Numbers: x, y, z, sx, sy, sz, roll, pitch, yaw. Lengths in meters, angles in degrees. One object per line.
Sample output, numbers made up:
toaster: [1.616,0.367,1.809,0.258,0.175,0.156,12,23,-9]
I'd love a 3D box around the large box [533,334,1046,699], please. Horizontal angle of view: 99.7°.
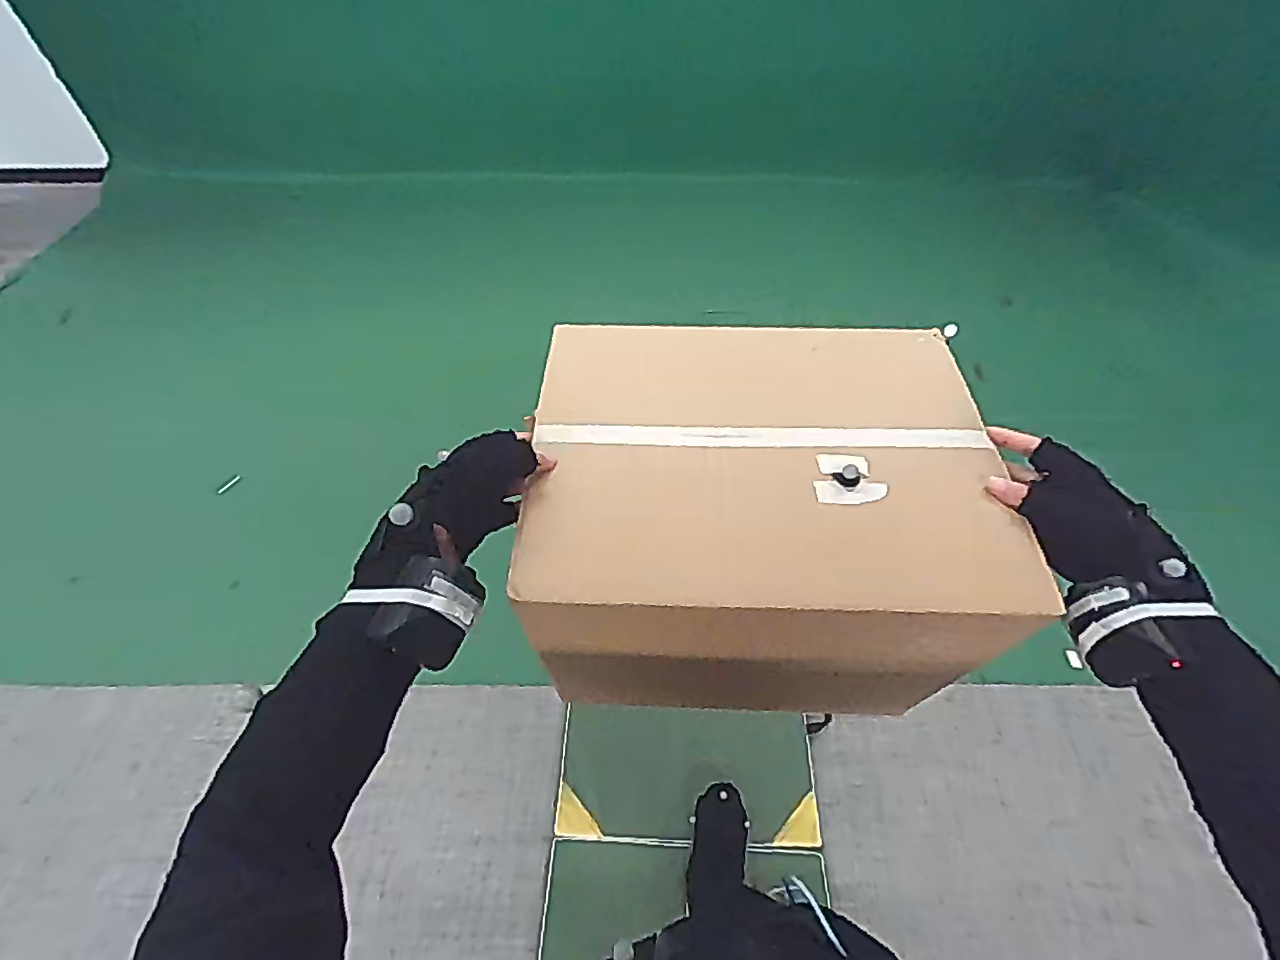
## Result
large box: [0.114,0.053,0.618,0.408,0.320,0.320,1,55,1]
